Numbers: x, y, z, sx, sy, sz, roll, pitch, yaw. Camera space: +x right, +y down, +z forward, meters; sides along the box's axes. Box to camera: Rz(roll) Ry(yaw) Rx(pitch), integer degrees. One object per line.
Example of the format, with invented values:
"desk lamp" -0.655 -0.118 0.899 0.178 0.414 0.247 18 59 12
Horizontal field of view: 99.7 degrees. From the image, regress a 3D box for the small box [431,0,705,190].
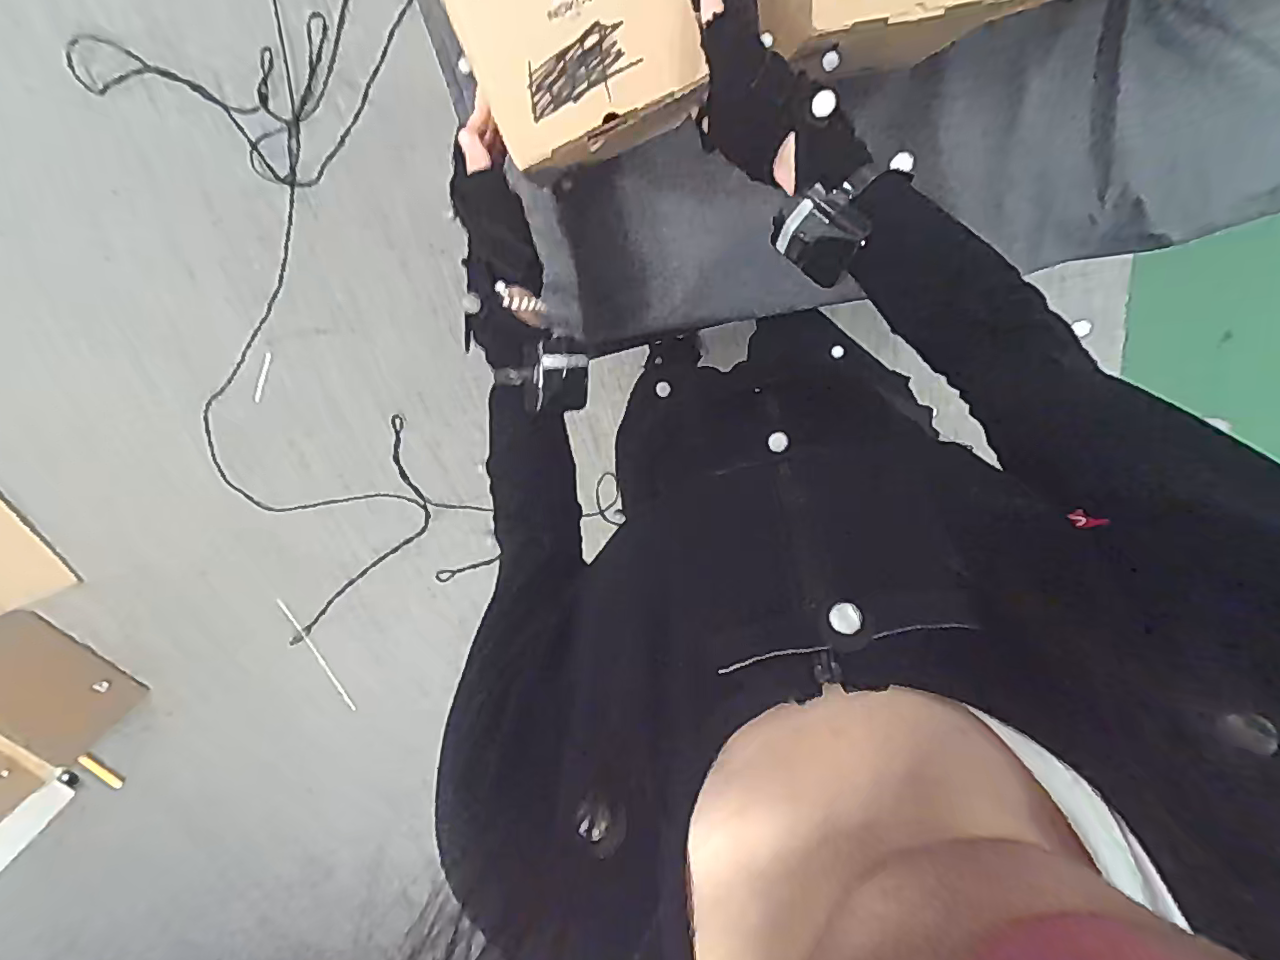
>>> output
"small box" -0.061 -0.365 0.454 0.168 0.176 0.179 -24 112 6
